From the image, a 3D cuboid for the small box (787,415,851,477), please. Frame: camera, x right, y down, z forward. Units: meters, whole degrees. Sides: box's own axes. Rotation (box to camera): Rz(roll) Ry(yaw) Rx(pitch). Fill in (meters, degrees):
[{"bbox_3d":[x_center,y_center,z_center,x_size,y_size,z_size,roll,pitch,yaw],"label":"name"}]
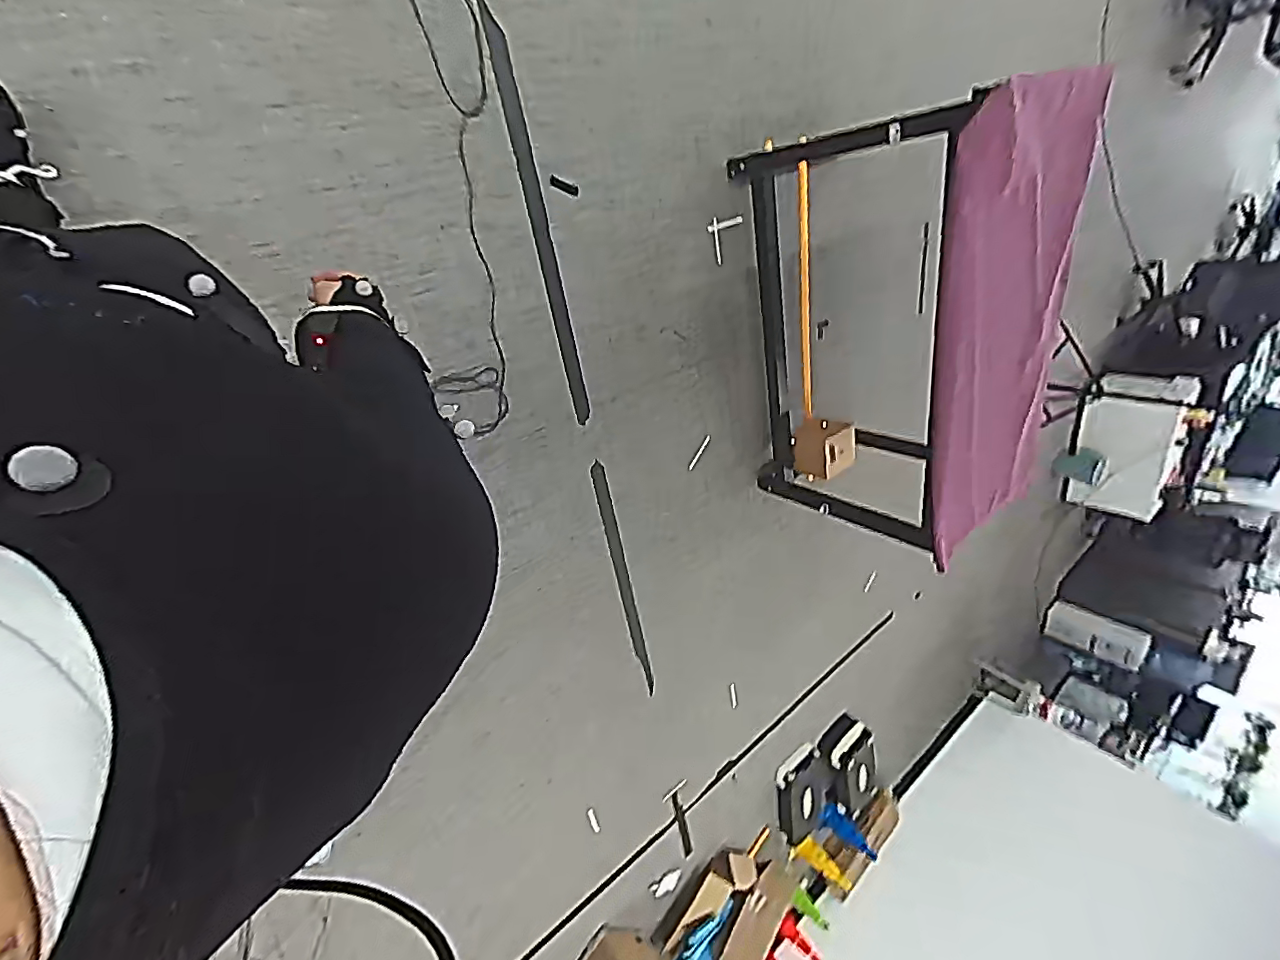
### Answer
[{"bbox_3d":[0.670,-0.132,2.033,0.179,0.176,0.168,-28,121,-28],"label":"small box"}]
